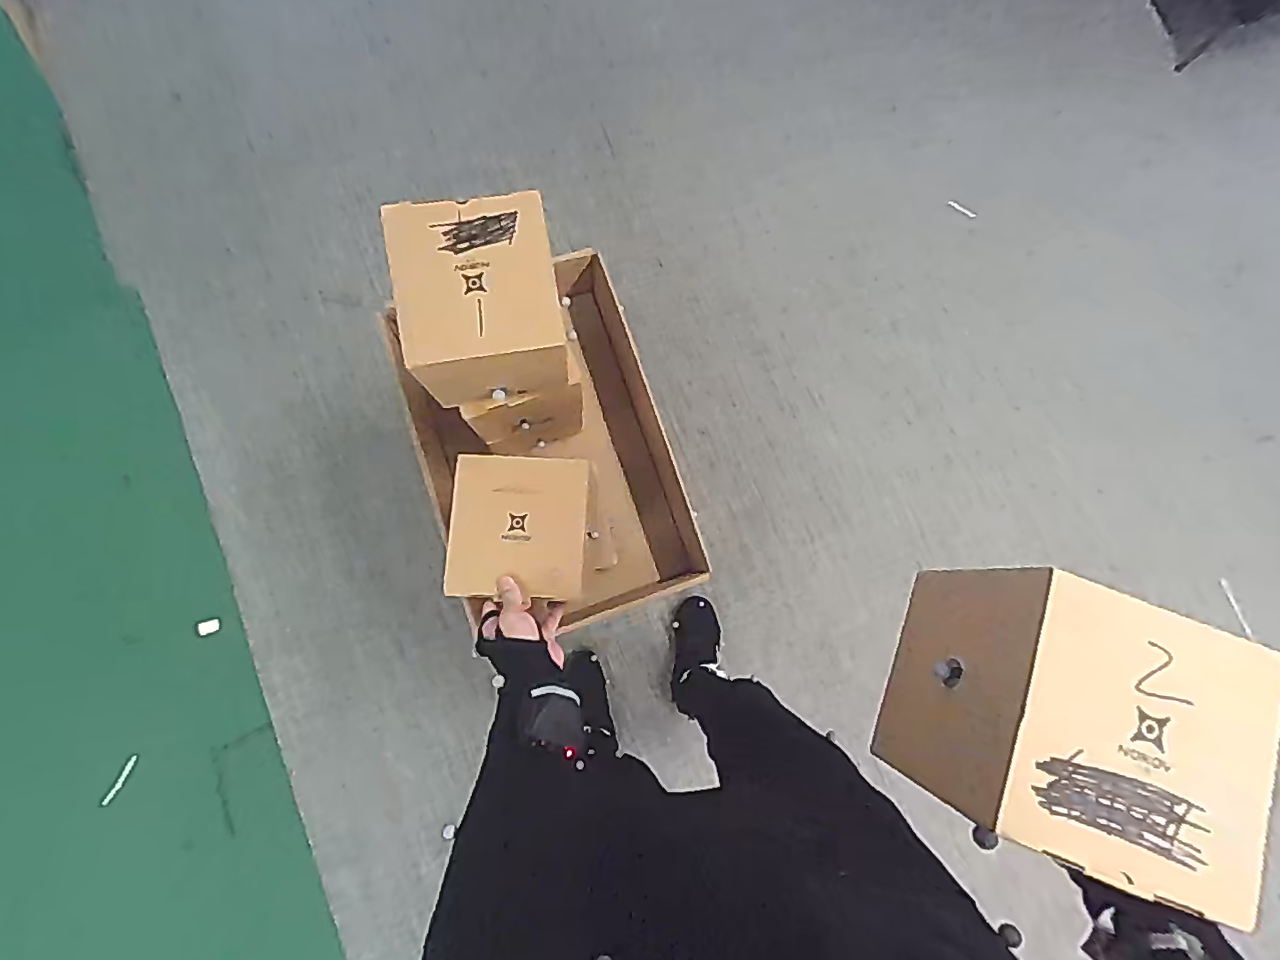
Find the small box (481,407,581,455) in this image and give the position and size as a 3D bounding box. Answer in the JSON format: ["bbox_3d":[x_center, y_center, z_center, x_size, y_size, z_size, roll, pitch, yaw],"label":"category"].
[{"bbox_3d":[-0.211,-0.158,0.962,0.168,0.176,0.179,-19,86,-8],"label":"small box"}]

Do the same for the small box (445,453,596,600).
[{"bbox_3d":[-0.150,0.069,0.740,0.168,0.176,0.179,2,79,0],"label":"small box"}]

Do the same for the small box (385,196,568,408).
[{"bbox_3d":[-0.180,-0.199,0.639,0.168,0.176,0.179,-10,85,-8],"label":"small box"}]

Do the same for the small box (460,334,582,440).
[{"bbox_3d":[-0.193,-0.176,0.802,0.168,0.176,0.179,-20,86,-9],"label":"small box"}]
